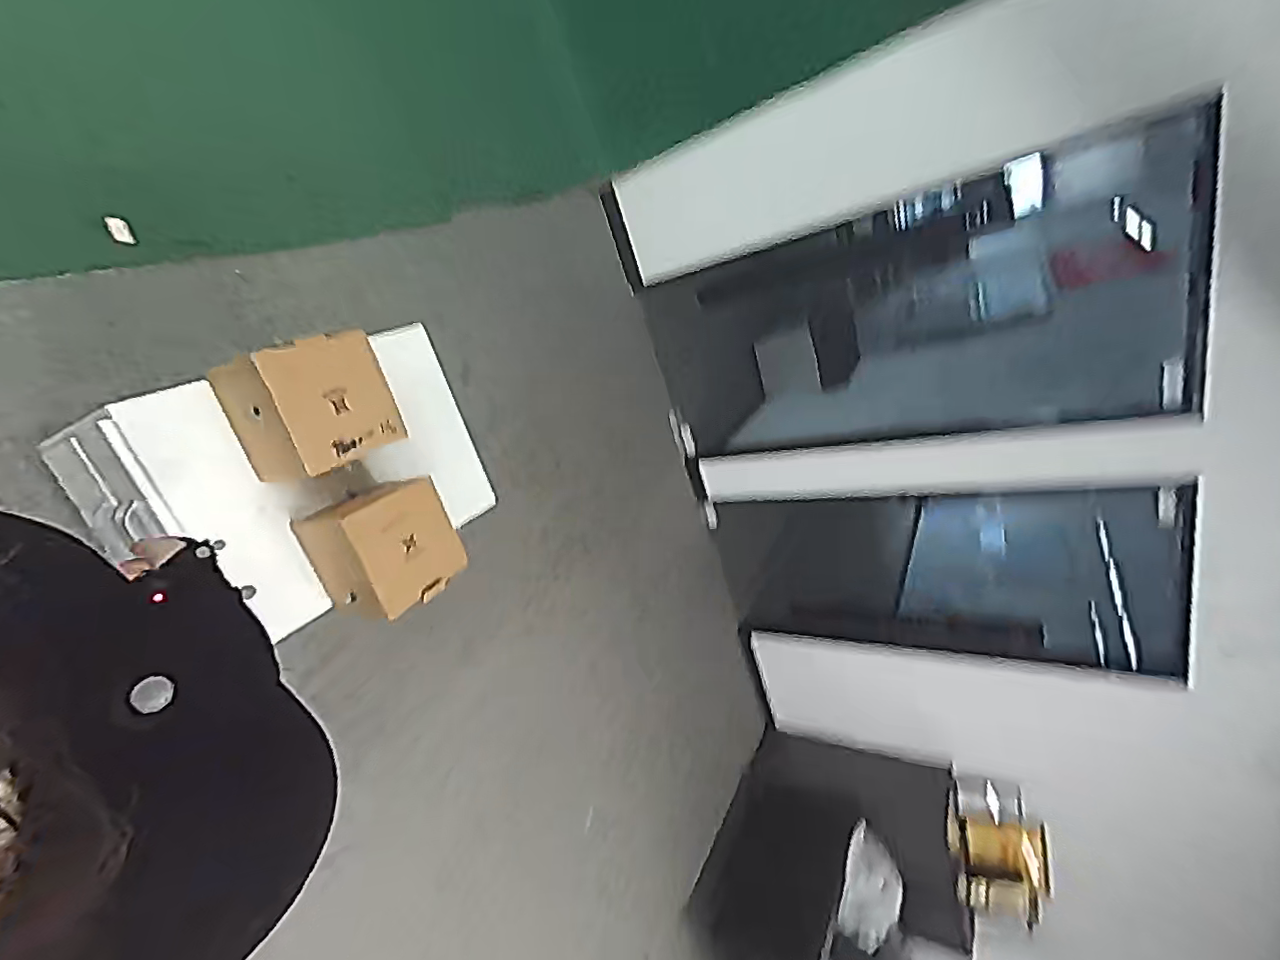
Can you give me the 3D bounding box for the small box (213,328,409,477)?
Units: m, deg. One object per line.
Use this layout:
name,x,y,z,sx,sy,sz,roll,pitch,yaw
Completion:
small box,-0.498,-0.115,0.822,0.168,0.176,0.179,-37,118,-49

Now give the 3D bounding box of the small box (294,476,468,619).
small box,-0.429,0.107,0.903,0.168,0.176,0.179,-38,116,-50
